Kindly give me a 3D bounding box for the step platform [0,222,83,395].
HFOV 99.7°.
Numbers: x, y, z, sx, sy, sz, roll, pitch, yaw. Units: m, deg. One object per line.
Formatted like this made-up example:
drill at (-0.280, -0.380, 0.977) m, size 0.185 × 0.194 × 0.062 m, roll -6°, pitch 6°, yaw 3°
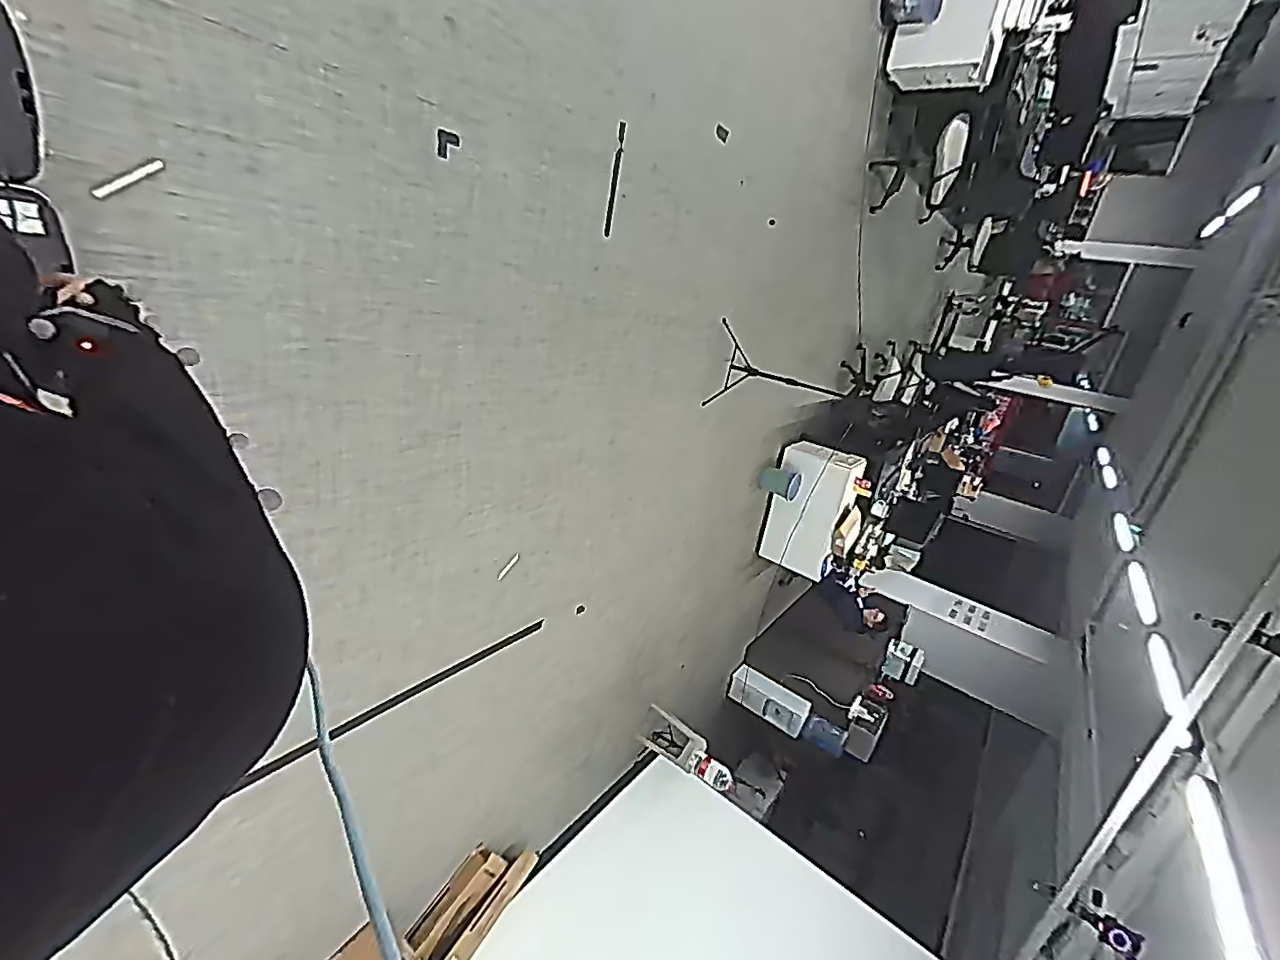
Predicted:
step platform at (-1.267, -0.277, 0.755) m, size 0.684 × 0.204 × 0.286 m, roll -9°, pitch 115°, yaw -51°
